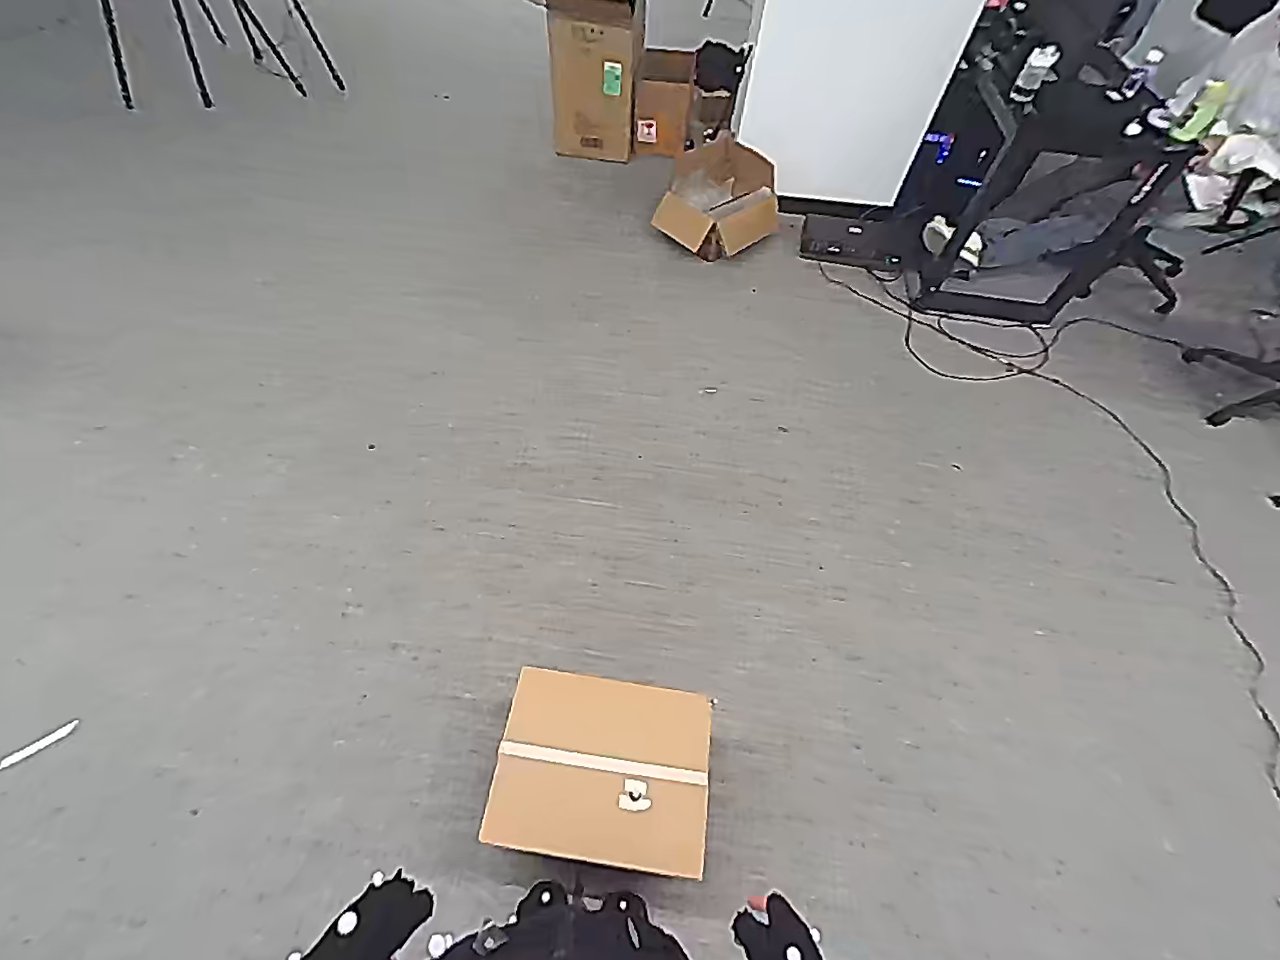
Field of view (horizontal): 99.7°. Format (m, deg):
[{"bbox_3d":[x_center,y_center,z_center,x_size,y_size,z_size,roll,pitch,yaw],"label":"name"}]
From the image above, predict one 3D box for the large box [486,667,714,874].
[{"bbox_3d":[-0.074,0.626,1.161,0.408,0.320,0.320,9,56,1],"label":"large box"}]
